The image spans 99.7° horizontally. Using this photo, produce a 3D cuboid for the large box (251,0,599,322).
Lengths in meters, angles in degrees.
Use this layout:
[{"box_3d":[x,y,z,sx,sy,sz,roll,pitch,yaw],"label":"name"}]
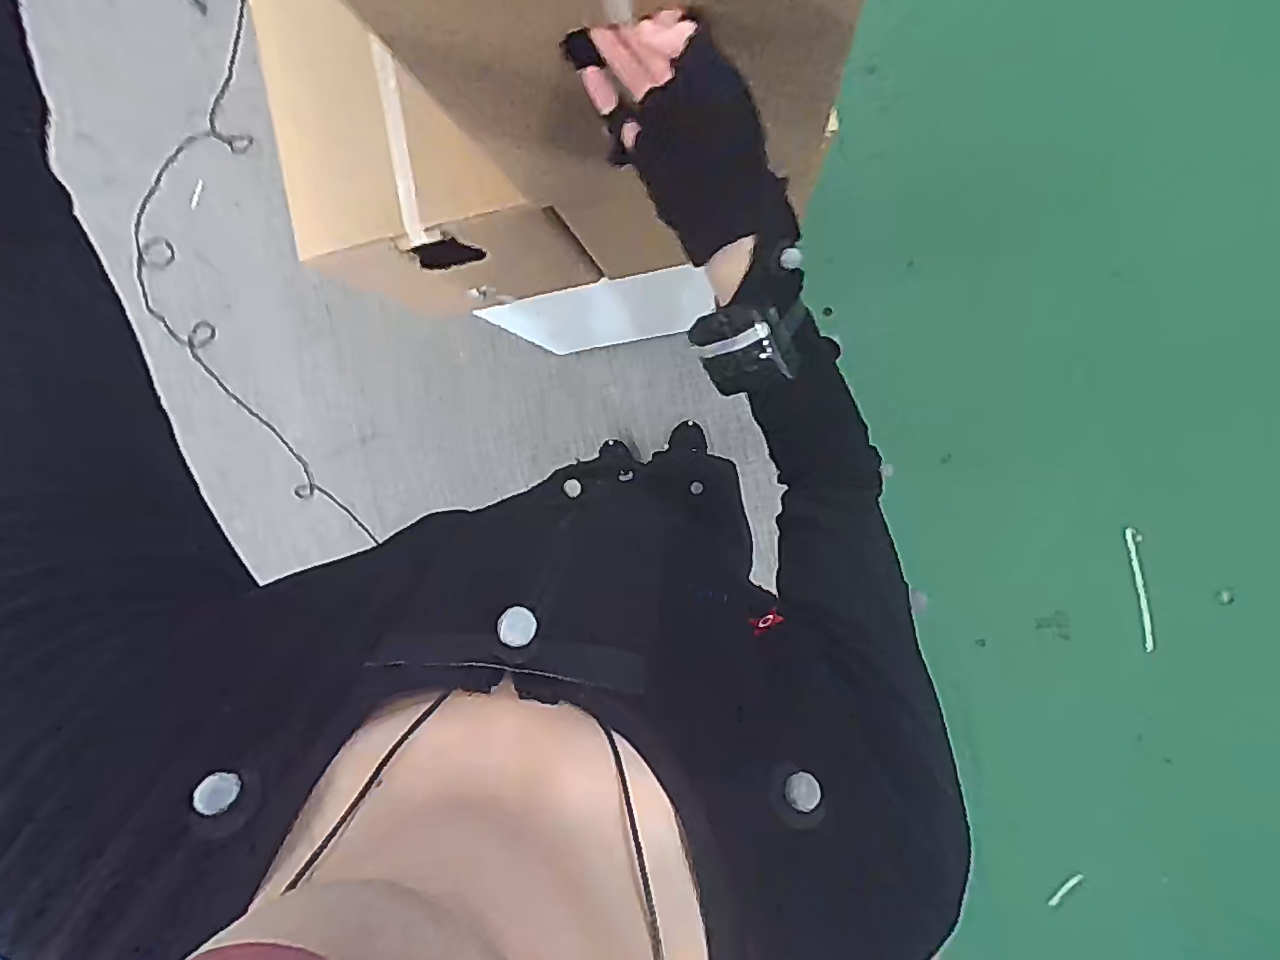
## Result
[{"box_3d":[-0.272,-0.487,0.771,0.320,0.320,0.408,-9,91,9],"label":"large box"}]
